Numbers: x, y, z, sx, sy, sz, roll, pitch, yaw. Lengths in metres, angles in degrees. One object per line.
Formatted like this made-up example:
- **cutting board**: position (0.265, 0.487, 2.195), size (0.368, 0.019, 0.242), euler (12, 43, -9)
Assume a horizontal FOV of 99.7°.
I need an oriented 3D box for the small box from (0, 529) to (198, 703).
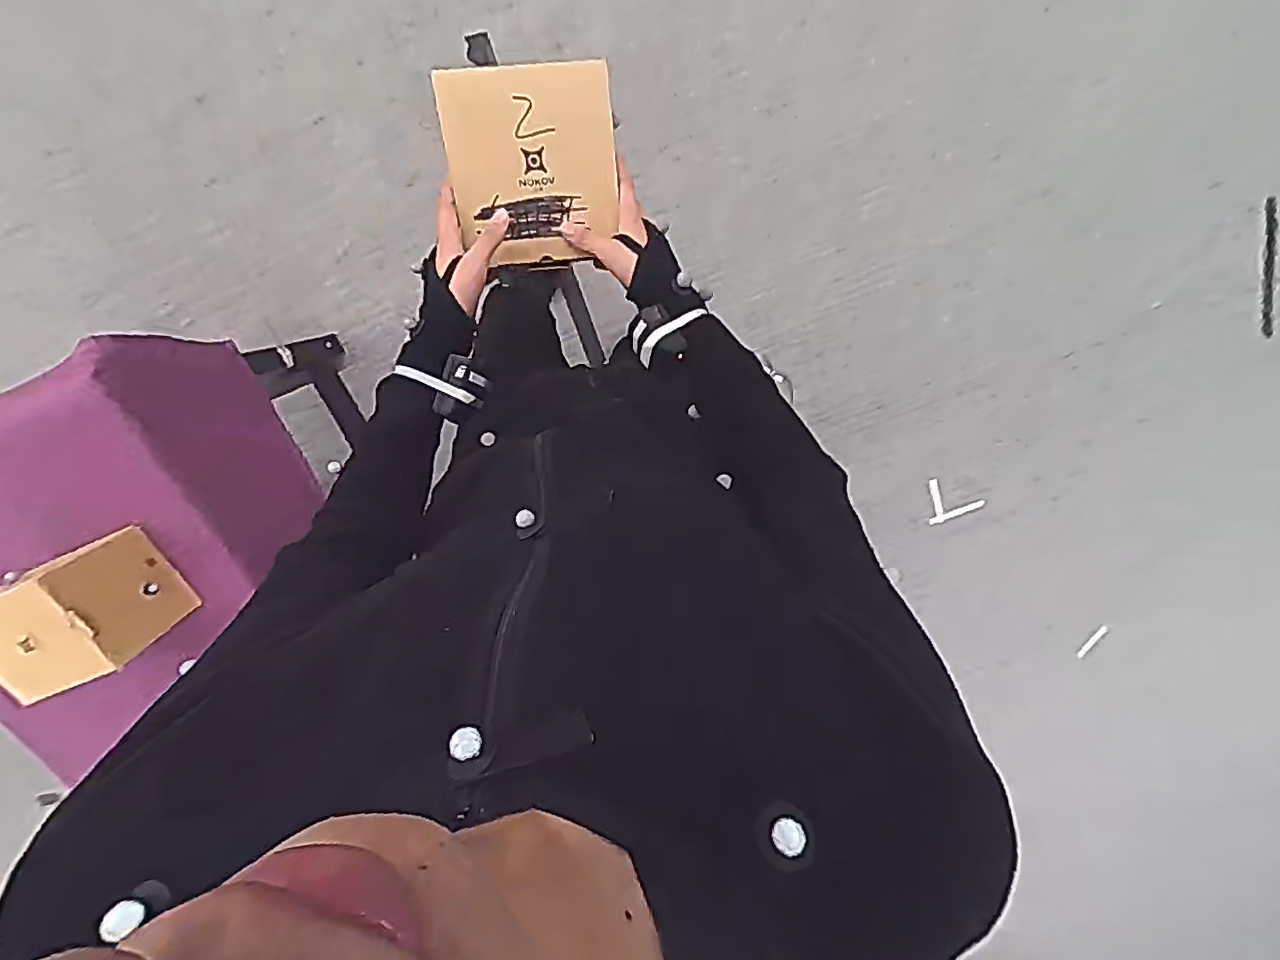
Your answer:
- **small box**: position (-0.859, 0.202, 0.839), size (0.179, 0.176, 0.168), euler (-21, 110, 6)
